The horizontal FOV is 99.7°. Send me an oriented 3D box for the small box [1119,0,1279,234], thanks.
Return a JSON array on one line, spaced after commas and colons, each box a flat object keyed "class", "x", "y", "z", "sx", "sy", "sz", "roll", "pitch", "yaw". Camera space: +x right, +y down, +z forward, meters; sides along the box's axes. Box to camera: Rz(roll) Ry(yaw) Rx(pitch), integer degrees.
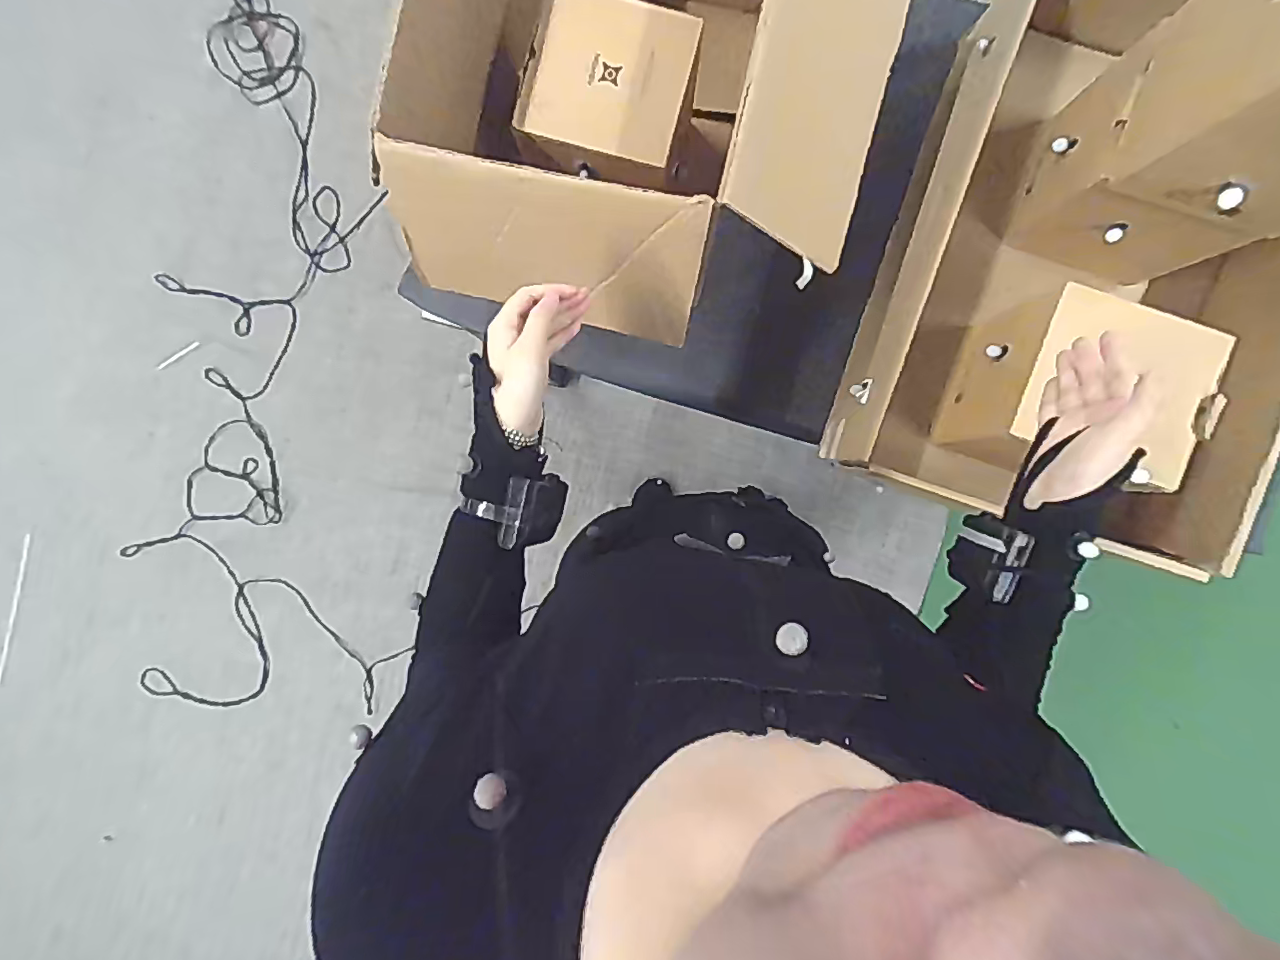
[{"class": "small box", "x": 0.558, "y": -0.338, "z": 0.442, "sx": 0.168, "sy": 0.176, "sz": 0.179, "roll": 19, "pitch": 95, "yaw": 2}]
